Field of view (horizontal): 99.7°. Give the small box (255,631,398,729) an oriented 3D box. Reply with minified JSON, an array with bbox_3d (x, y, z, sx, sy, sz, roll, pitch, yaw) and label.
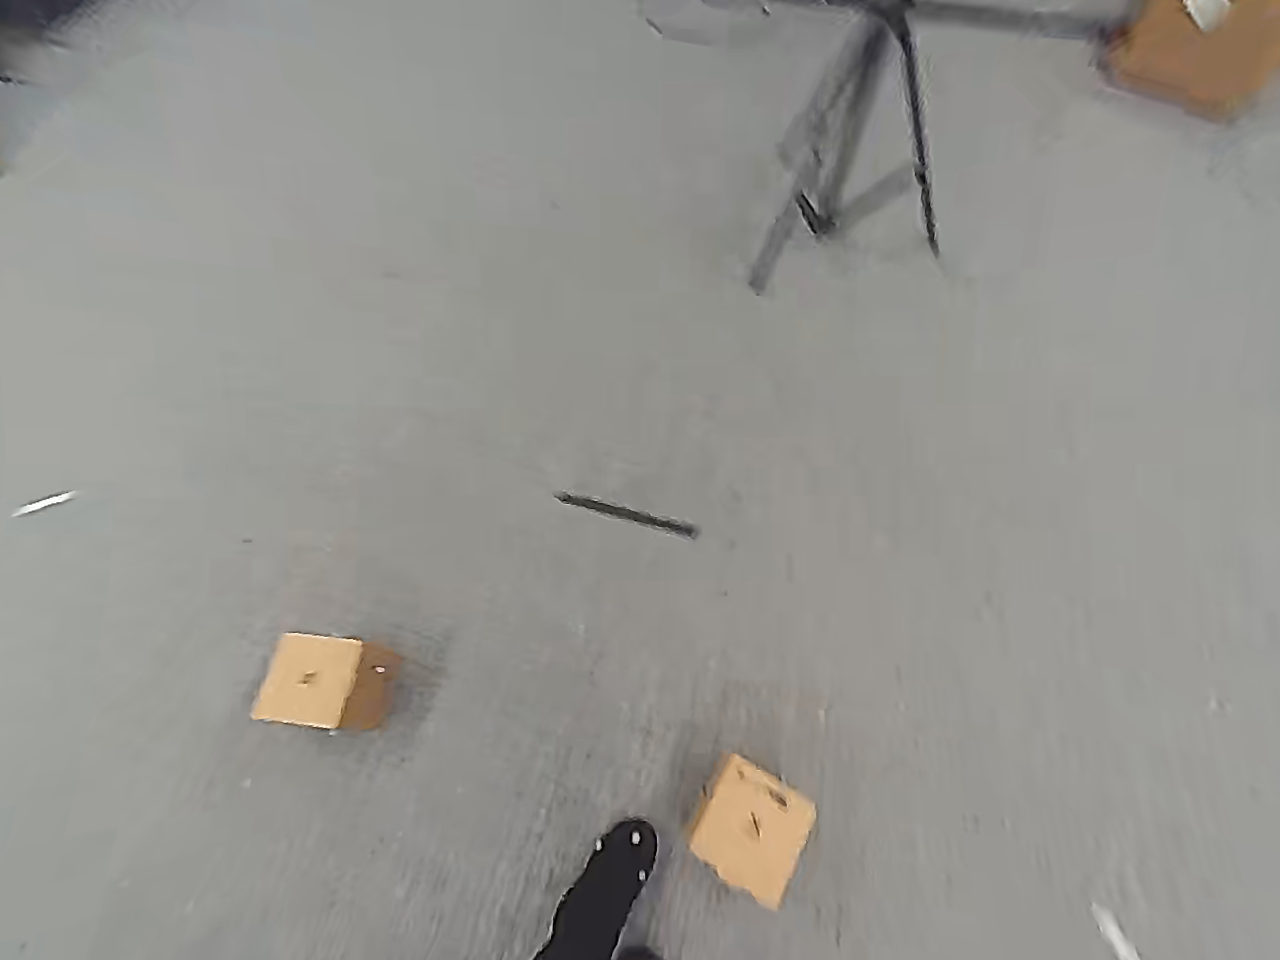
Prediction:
[{"bbox_3d":[-0.642,0.424,1.134,0.179,0.176,0.168,4,64,5],"label":"small box"}]

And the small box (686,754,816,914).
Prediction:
[{"bbox_3d":[0.196,0.637,1.000,0.168,0.176,0.179,30,70,14],"label":"small box"}]
